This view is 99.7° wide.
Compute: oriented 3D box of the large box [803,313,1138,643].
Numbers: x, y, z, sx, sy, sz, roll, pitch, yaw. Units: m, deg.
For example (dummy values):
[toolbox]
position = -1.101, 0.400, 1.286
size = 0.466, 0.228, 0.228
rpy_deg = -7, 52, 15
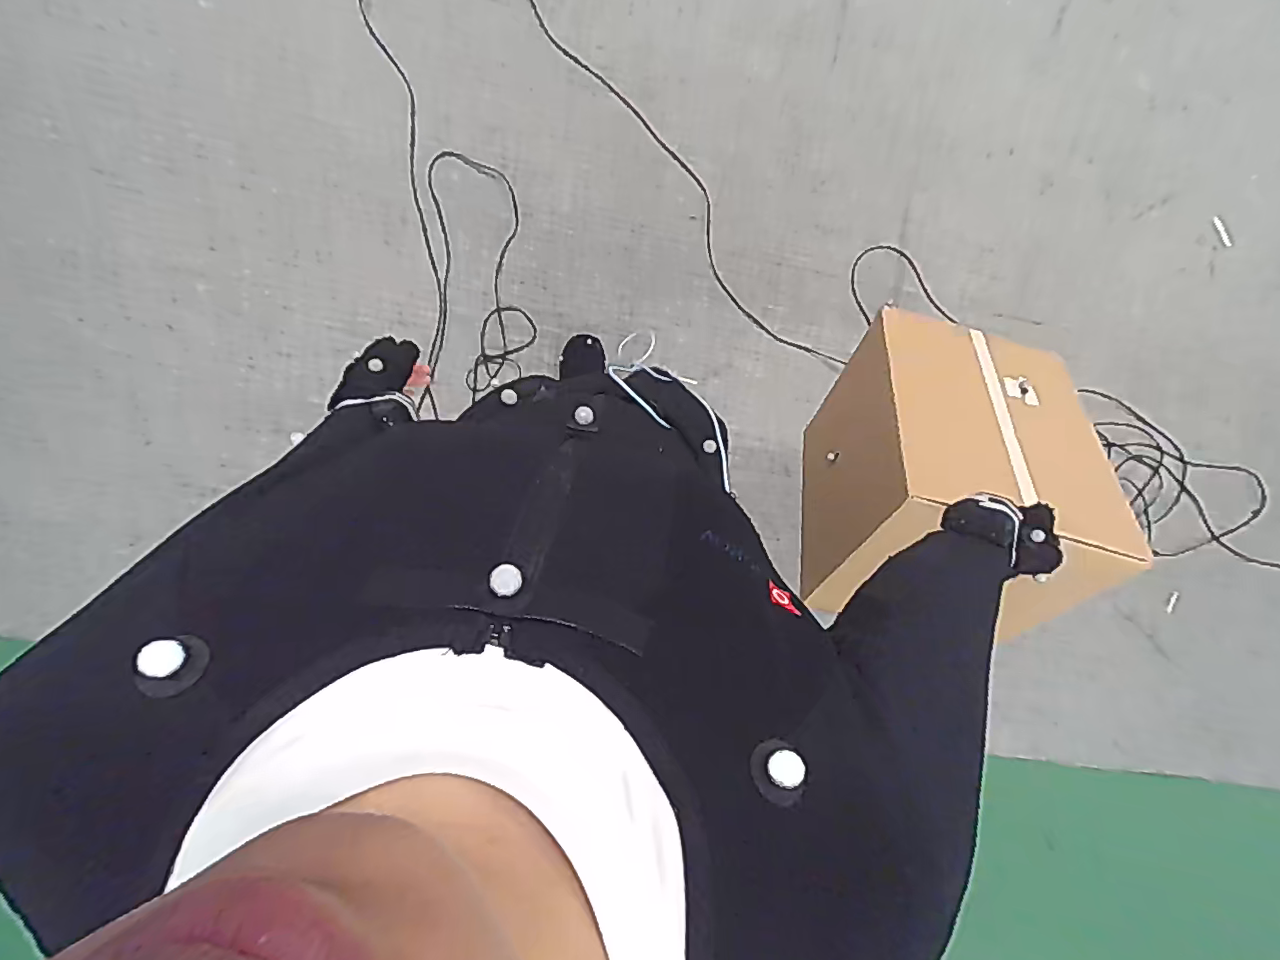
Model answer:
[large box]
position = 0.476, -0.001, 0.897
size = 0.320, 0.408, 0.320
rpy_deg = 16, 141, -2
